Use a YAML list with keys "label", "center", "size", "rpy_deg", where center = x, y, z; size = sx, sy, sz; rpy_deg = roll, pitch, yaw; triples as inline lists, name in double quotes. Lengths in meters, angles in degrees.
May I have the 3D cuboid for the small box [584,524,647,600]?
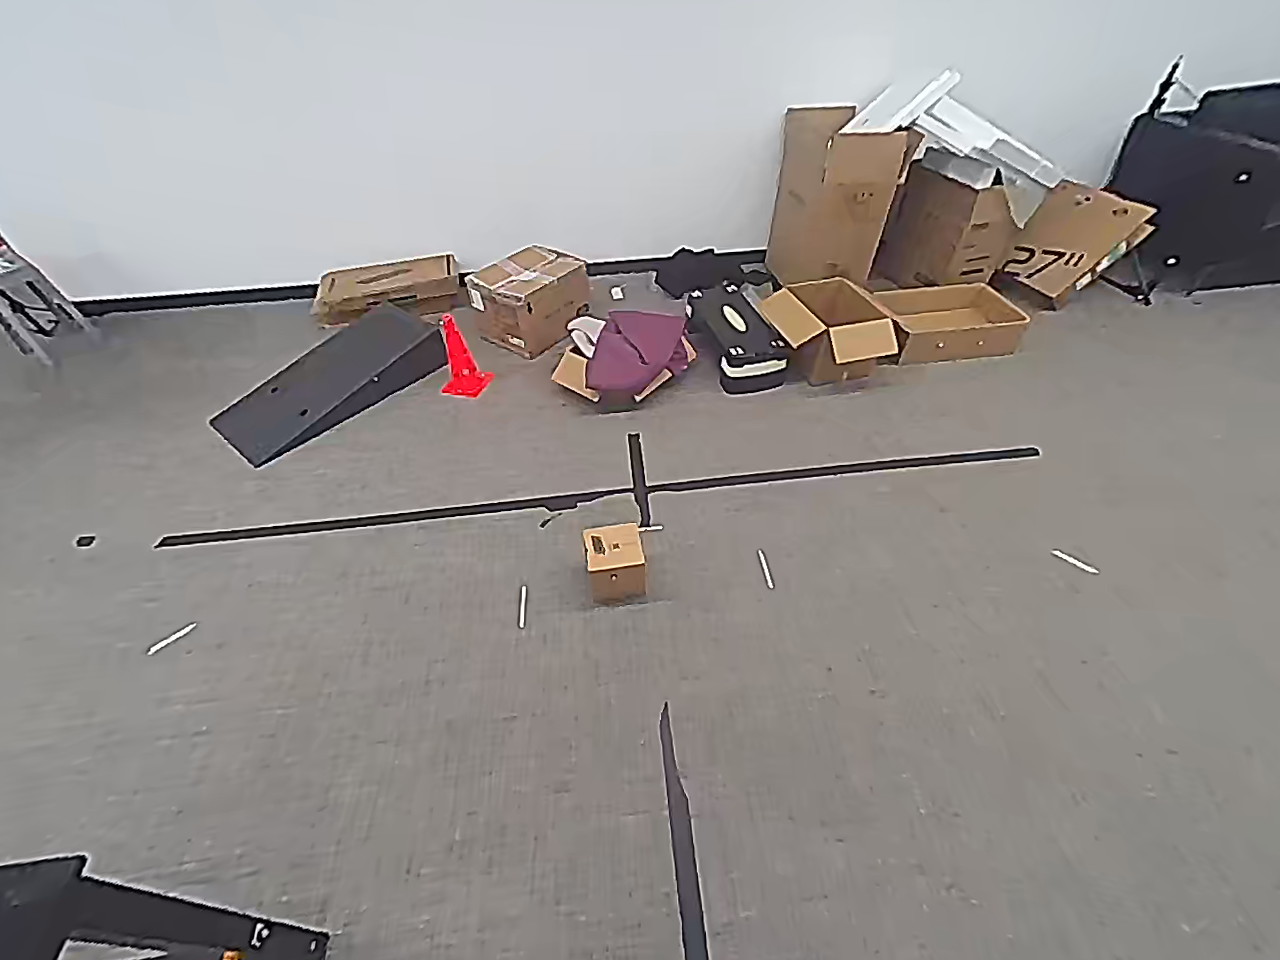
- label: "small box"
  center: [-0.077, 0.264, 1.725]
  size: [0.179, 0.176, 0.168]
  rpy_deg: [-8, 45, -6]
